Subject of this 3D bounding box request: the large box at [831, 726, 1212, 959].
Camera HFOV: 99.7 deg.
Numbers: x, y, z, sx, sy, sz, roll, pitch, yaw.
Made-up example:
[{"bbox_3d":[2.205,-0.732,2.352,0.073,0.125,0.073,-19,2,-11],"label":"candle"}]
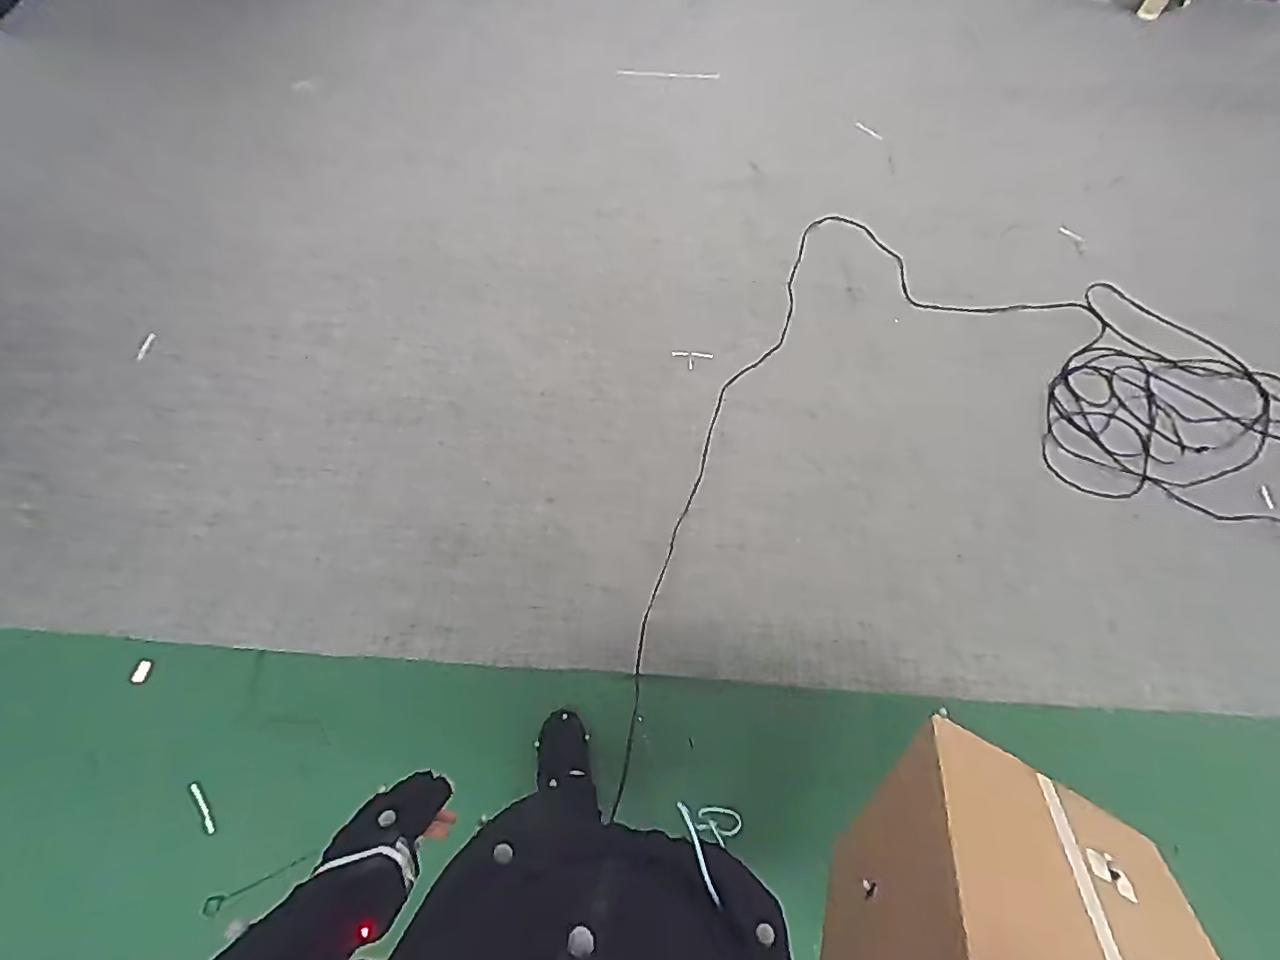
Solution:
[{"bbox_3d":[0.442,0.609,0.654,0.320,0.408,0.320,30,111,16],"label":"large box"}]
